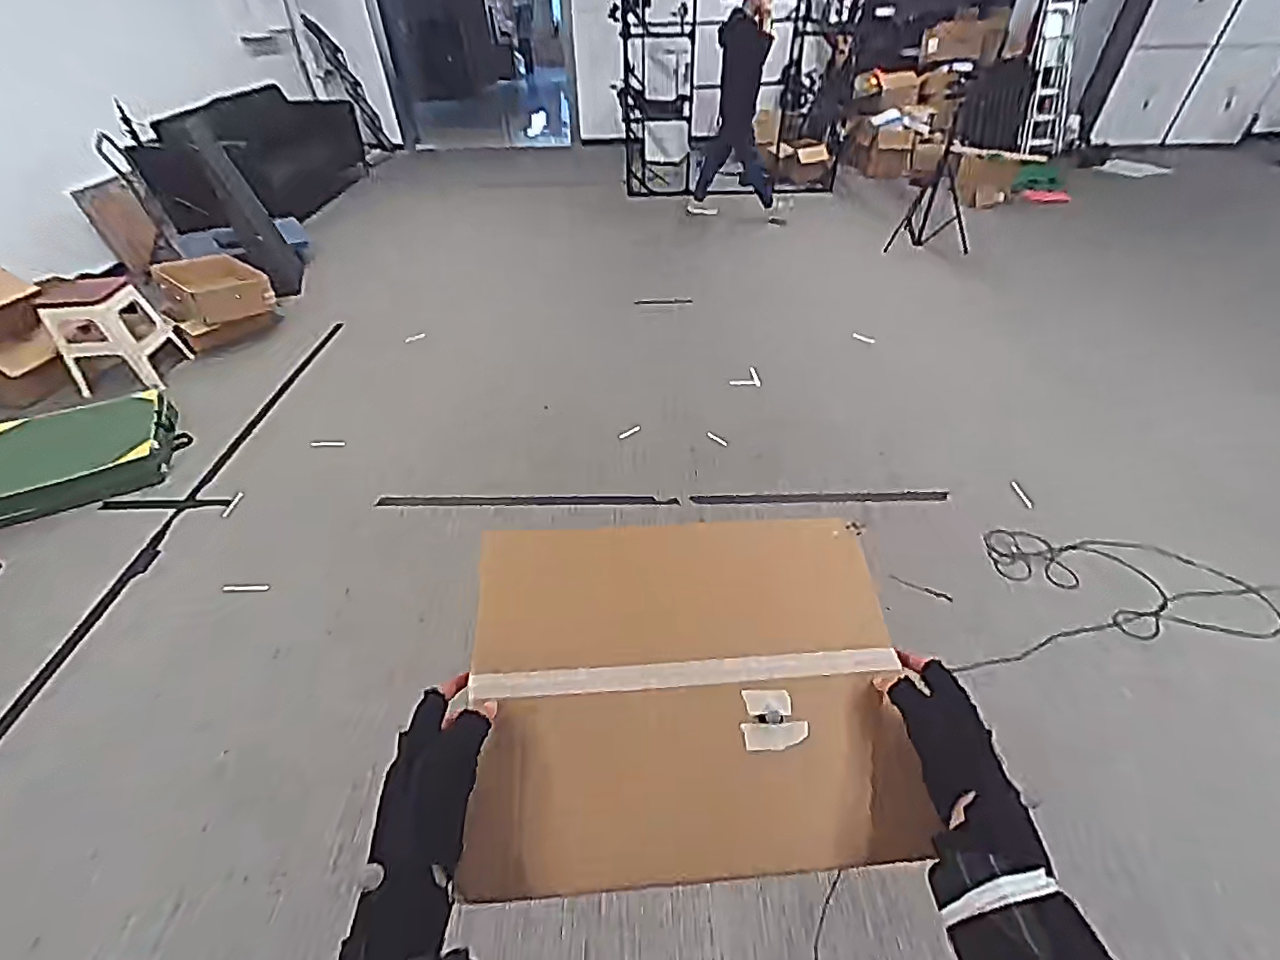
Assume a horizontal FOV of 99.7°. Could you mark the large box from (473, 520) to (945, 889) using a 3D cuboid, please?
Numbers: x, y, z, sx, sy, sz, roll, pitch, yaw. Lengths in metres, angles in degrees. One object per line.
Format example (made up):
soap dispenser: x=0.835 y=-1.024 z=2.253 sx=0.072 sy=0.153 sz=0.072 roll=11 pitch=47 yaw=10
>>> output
large box: x=0.042 y=0.262 z=0.644 sx=0.408 sy=0.320 sz=0.320 roll=-1 pitch=58 yaw=-5
